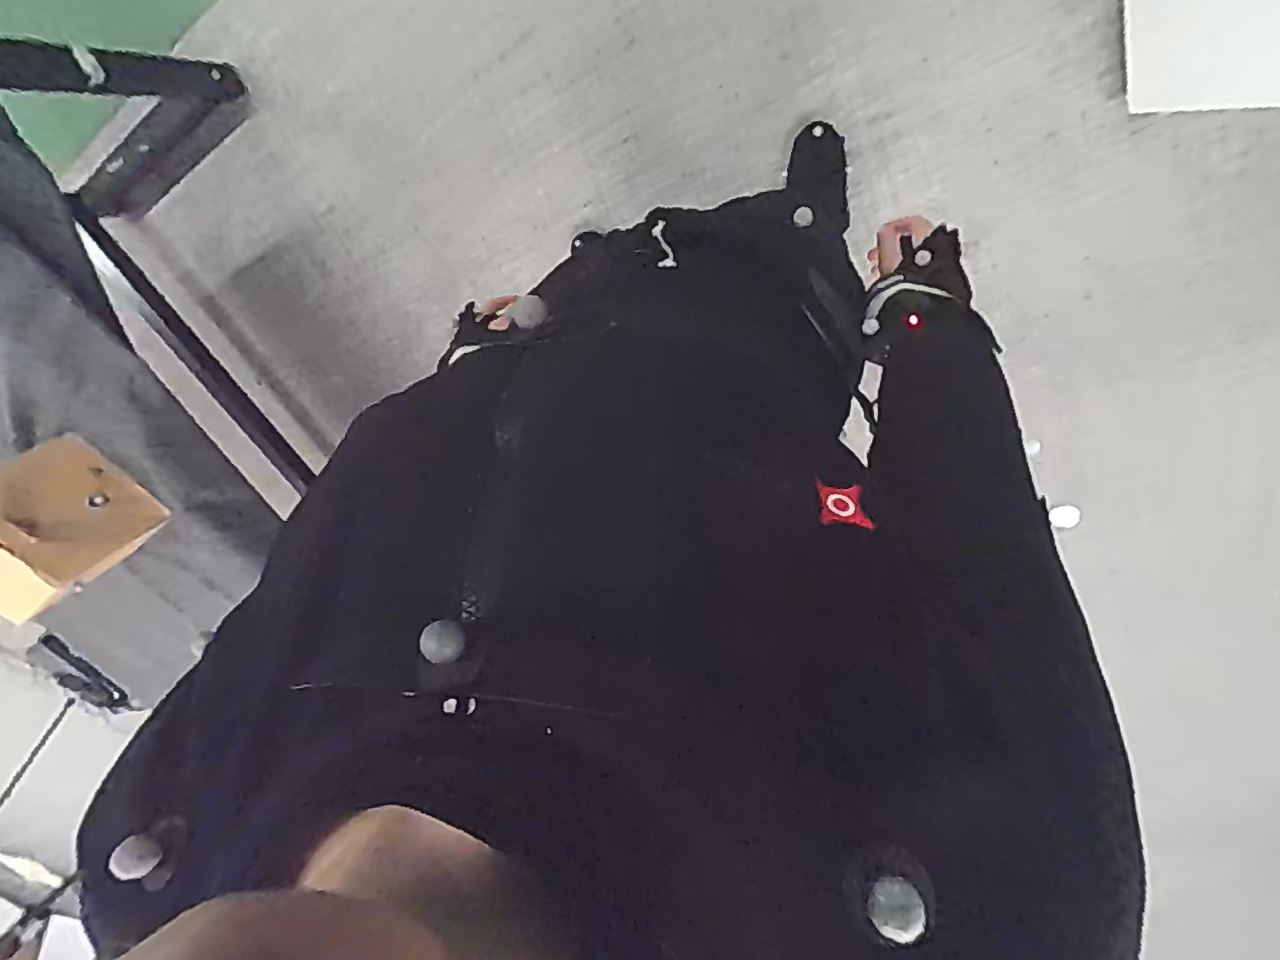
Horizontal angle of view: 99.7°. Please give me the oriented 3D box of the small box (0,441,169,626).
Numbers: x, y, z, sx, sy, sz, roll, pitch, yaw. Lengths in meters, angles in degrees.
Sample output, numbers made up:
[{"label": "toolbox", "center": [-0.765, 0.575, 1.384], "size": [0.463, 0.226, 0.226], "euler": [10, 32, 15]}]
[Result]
[{"label": "small box", "center": [-0.845, 0.074, 0.780], "size": [0.179, 0.176, 0.168], "euler": [-27, 113, 27]}]
